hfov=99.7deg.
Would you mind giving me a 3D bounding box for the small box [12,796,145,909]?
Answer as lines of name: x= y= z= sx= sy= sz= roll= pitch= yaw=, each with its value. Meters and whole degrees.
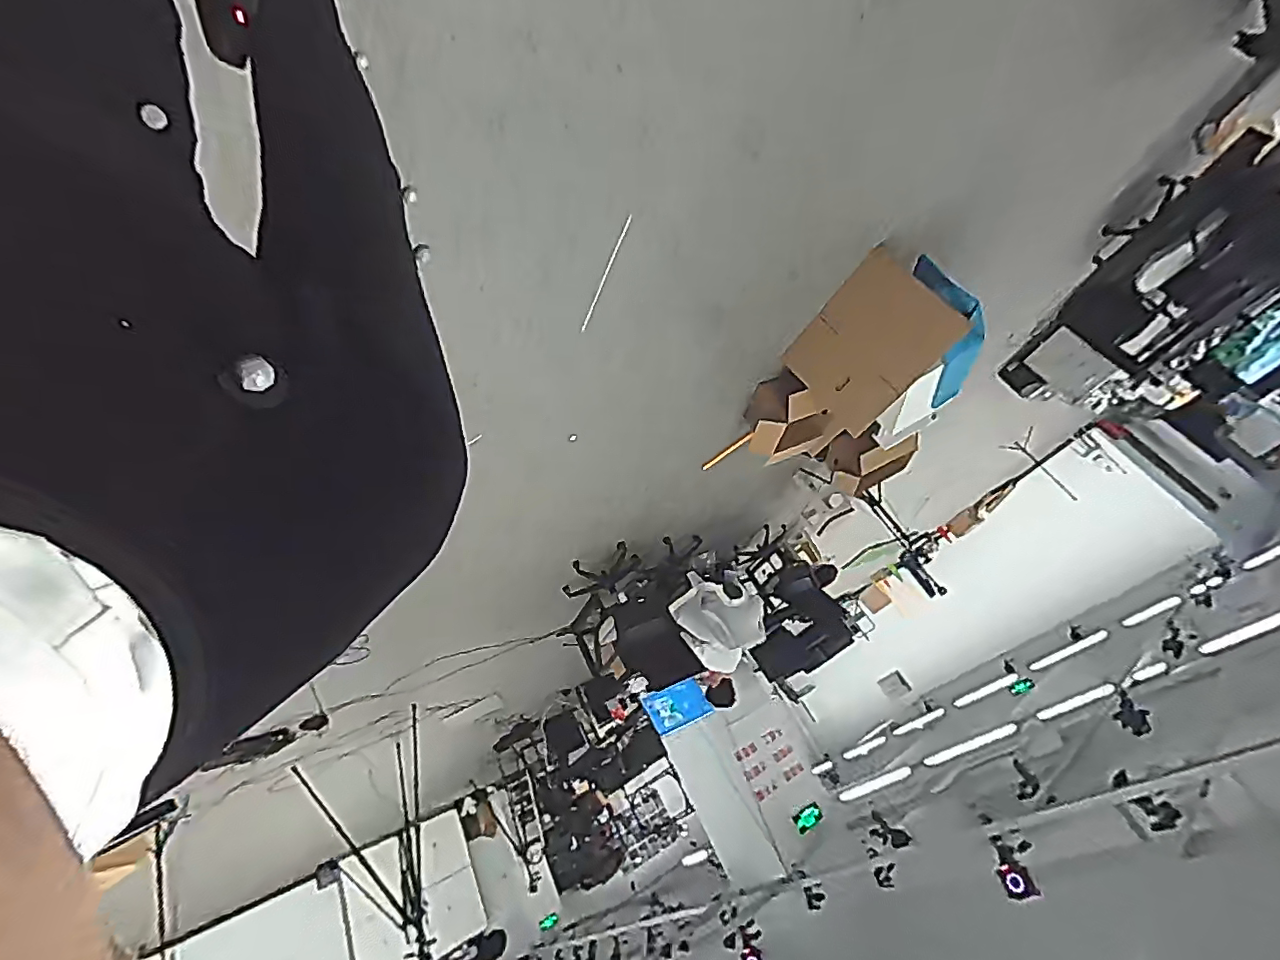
small box: x=-1.402 y=0.916 z=1.356 sx=0.179 sy=0.176 sz=0.168 roll=-33 pitch=151 yaw=4
